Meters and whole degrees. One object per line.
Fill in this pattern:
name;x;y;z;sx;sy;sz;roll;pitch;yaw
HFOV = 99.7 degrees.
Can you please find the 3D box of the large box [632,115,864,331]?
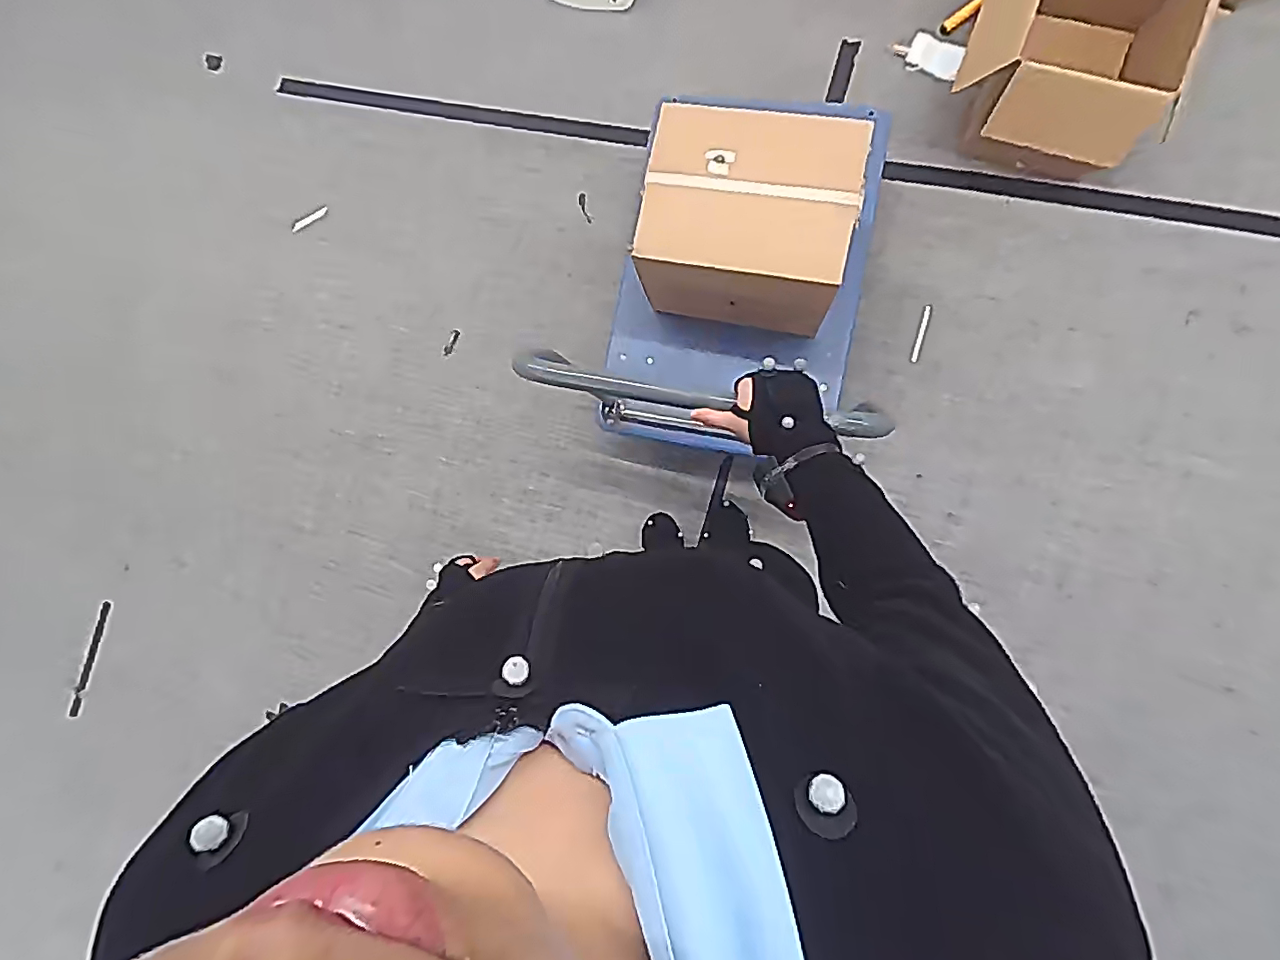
large box;0.231;-0.543;1.191;0.408;0.320;0.320;11;88;11
